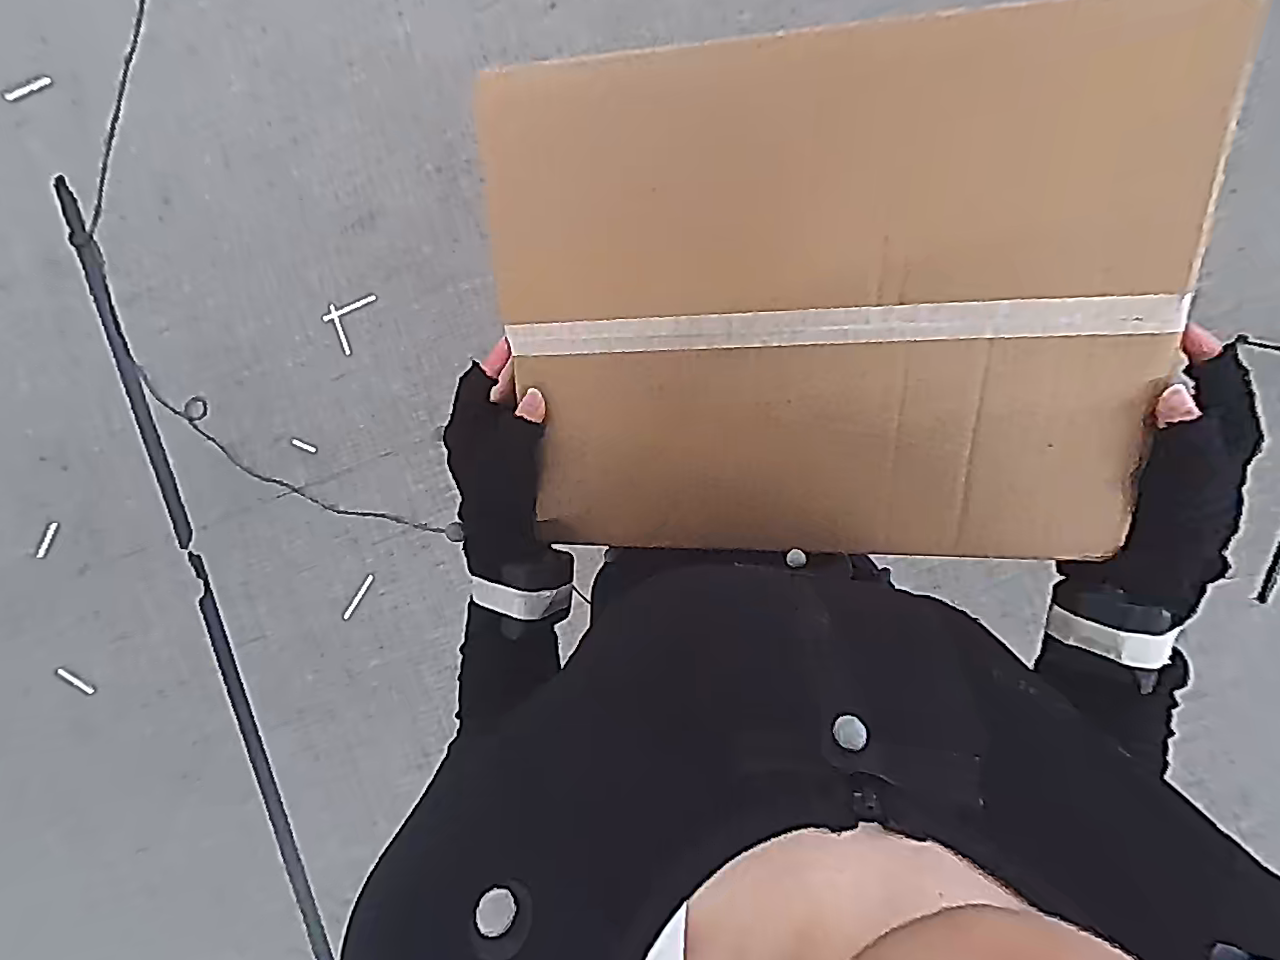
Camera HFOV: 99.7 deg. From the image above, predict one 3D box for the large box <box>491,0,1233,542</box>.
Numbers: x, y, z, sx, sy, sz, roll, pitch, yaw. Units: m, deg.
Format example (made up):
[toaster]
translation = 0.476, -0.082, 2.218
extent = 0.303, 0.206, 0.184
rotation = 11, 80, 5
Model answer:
[large box]
translation = 0.131, -0.151, 0.489
extent = 0.408, 0.320, 0.320
rotation = 1, 111, 9
